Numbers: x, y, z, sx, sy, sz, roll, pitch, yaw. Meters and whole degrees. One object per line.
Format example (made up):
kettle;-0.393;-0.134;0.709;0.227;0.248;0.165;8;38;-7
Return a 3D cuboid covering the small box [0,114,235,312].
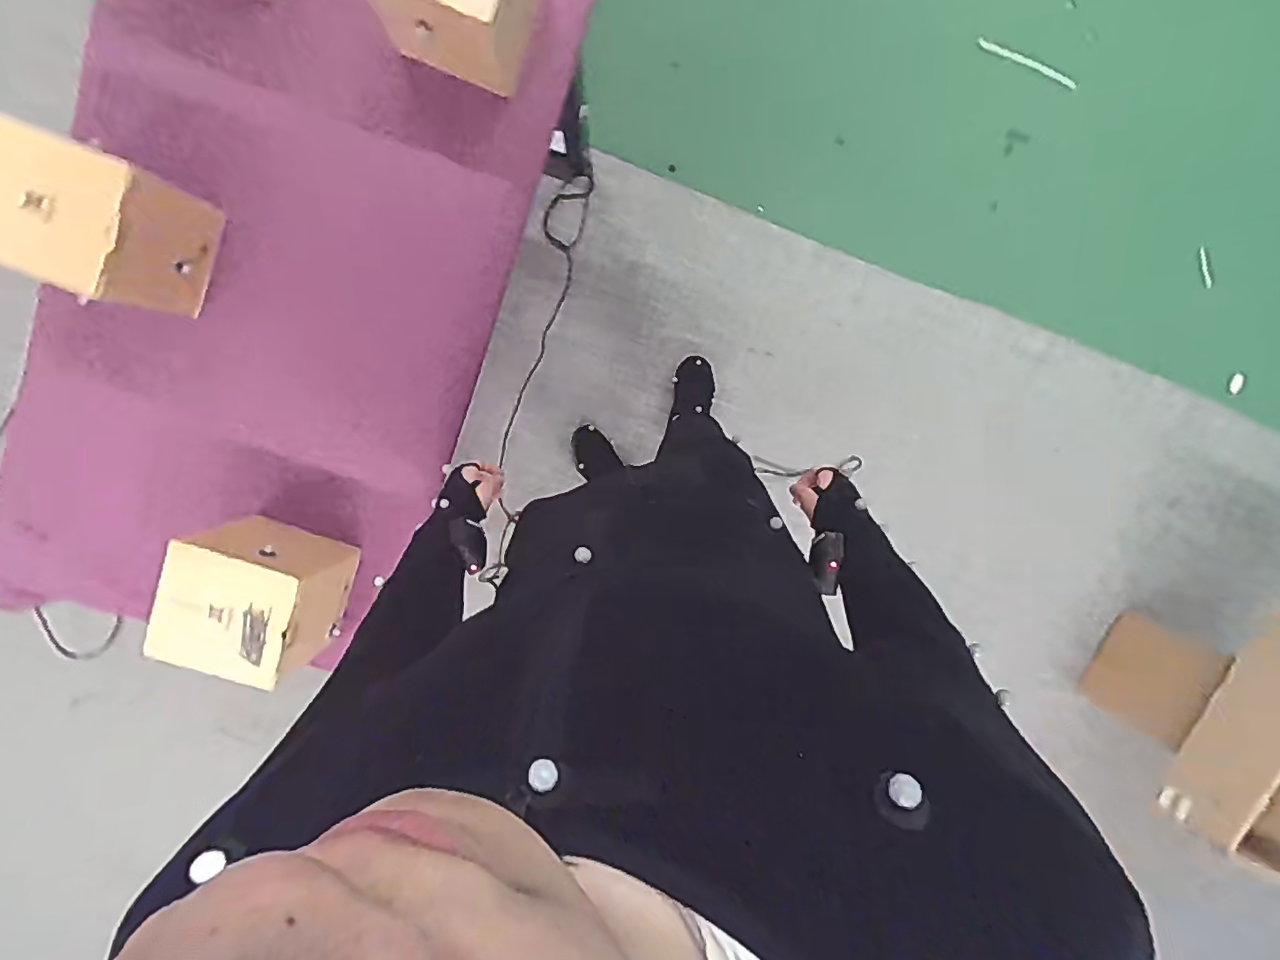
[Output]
small box;-0.717;-0.347;0.743;0.179;0.176;0.168;20;97;-7

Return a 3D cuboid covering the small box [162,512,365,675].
small box;-0.554;0.159;0.819;0.179;0.176;0.168;19;97;-3

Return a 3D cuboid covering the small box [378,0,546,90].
small box;-0.237;-0.660;0.707;0.179;0.176;0.168;20;99;-5
